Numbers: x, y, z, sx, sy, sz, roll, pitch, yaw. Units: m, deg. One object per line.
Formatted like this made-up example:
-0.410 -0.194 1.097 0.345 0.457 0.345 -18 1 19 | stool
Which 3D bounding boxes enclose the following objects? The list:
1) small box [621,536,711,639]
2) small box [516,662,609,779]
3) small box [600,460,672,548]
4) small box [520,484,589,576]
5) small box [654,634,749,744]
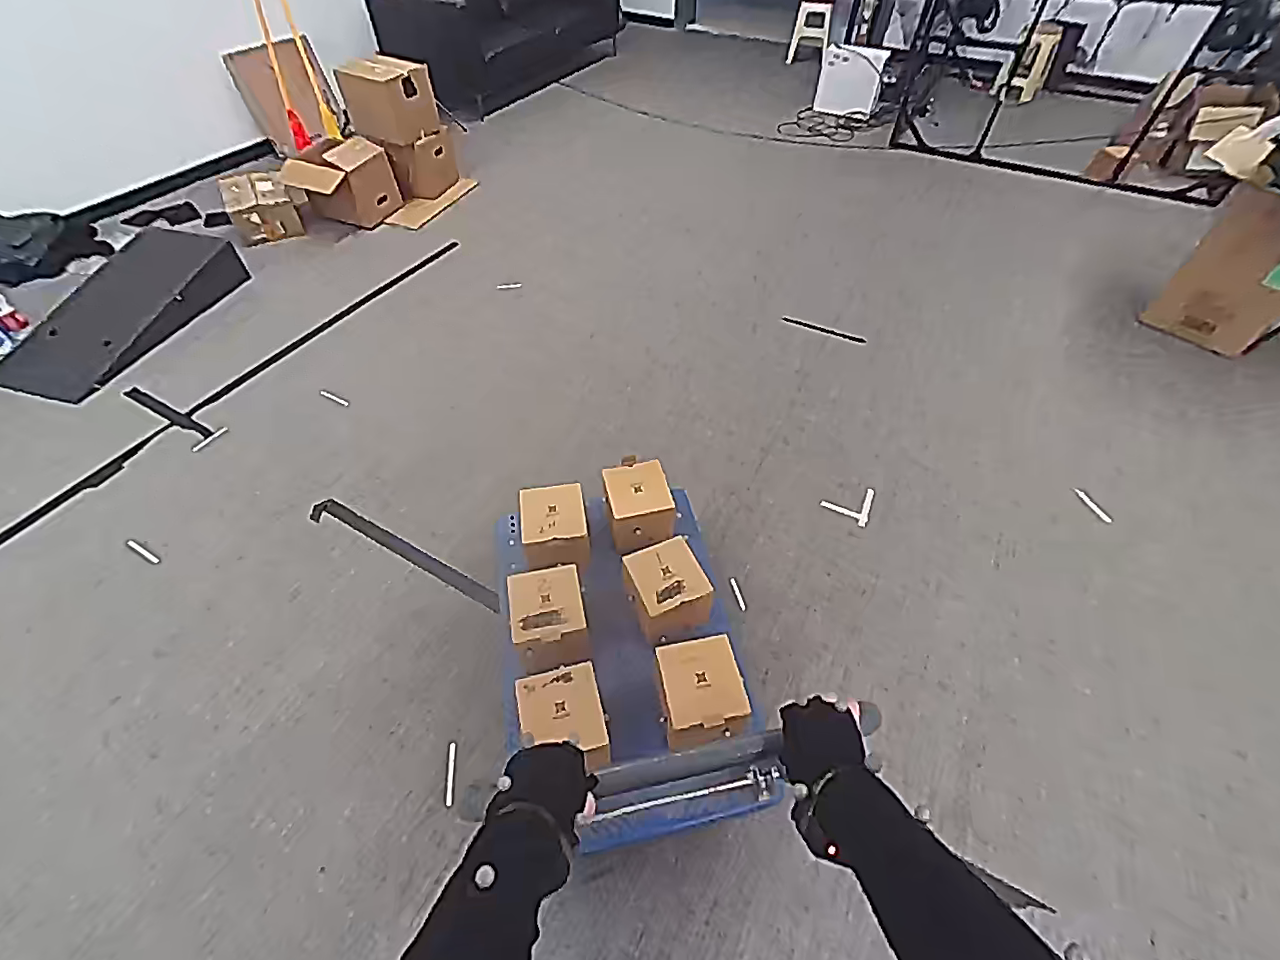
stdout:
0.061 0.277 1.360 0.168 0.176 0.179 -19 53 -16 | small box
-0.162 0.519 1.154 0.168 0.176 0.179 -11 52 -11 | small box
-0.013 0.075 1.528 0.168 0.176 0.179 -11 51 -10 | small box
-0.232 0.137 1.468 0.168 0.176 0.179 -8 52 -7 | small box
0.128 0.470 1.203 0.168 0.176 0.179 -8 50 -9 | small box
